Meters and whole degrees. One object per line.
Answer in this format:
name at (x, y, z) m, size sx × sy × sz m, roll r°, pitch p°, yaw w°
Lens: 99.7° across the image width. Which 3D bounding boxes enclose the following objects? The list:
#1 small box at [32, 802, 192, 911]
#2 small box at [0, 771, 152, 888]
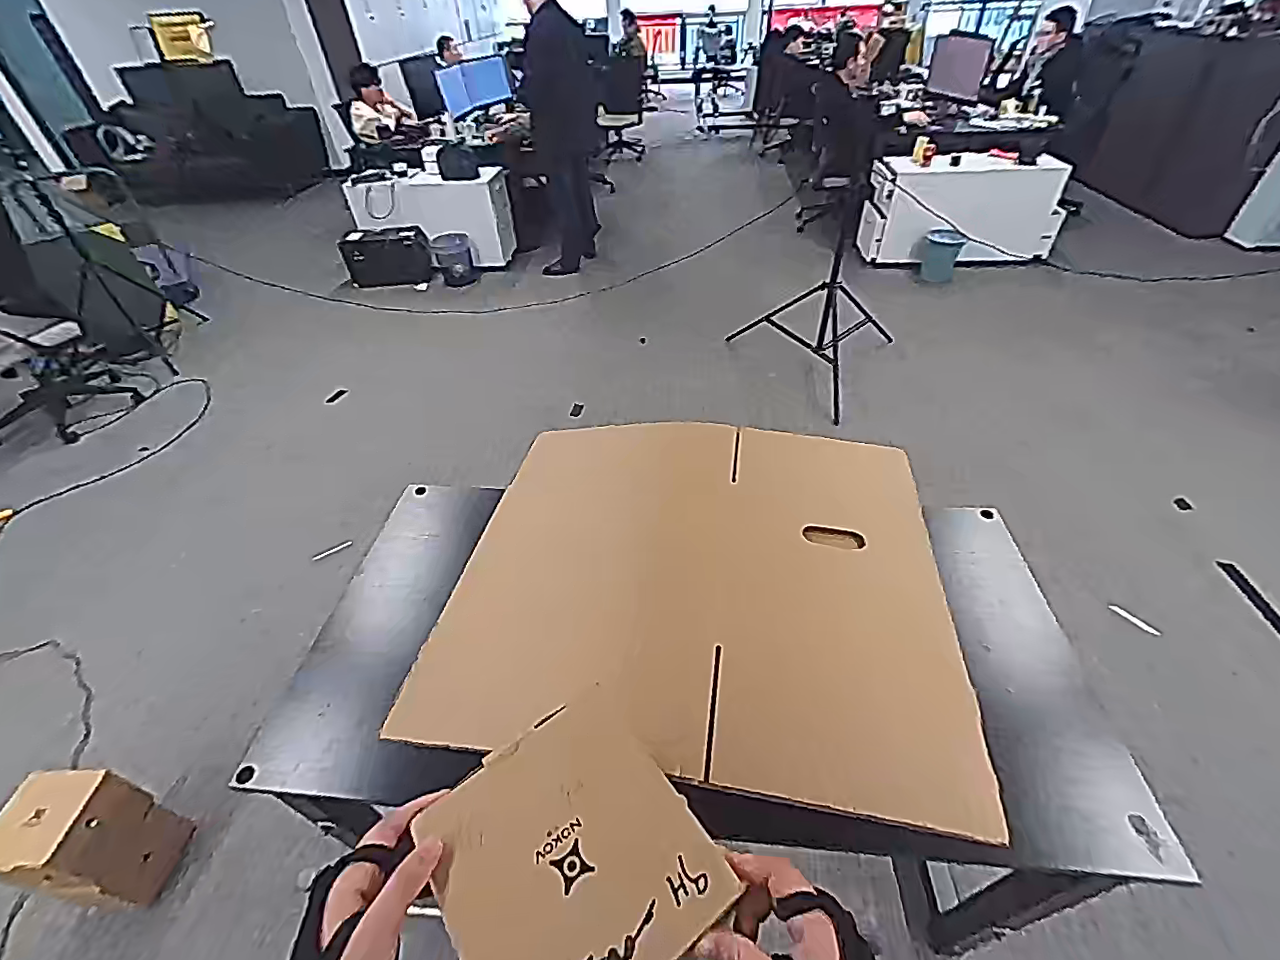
small box at (-1.196, 0.868, 1.248) m, size 0.168 × 0.176 × 0.179 m, roll -1°, pitch 43°, yaw 3°
small box at (-1.205, 0.743, 1.144) m, size 0.168 × 0.176 × 0.179 m, roll -2°, pitch 41°, yaw -1°
